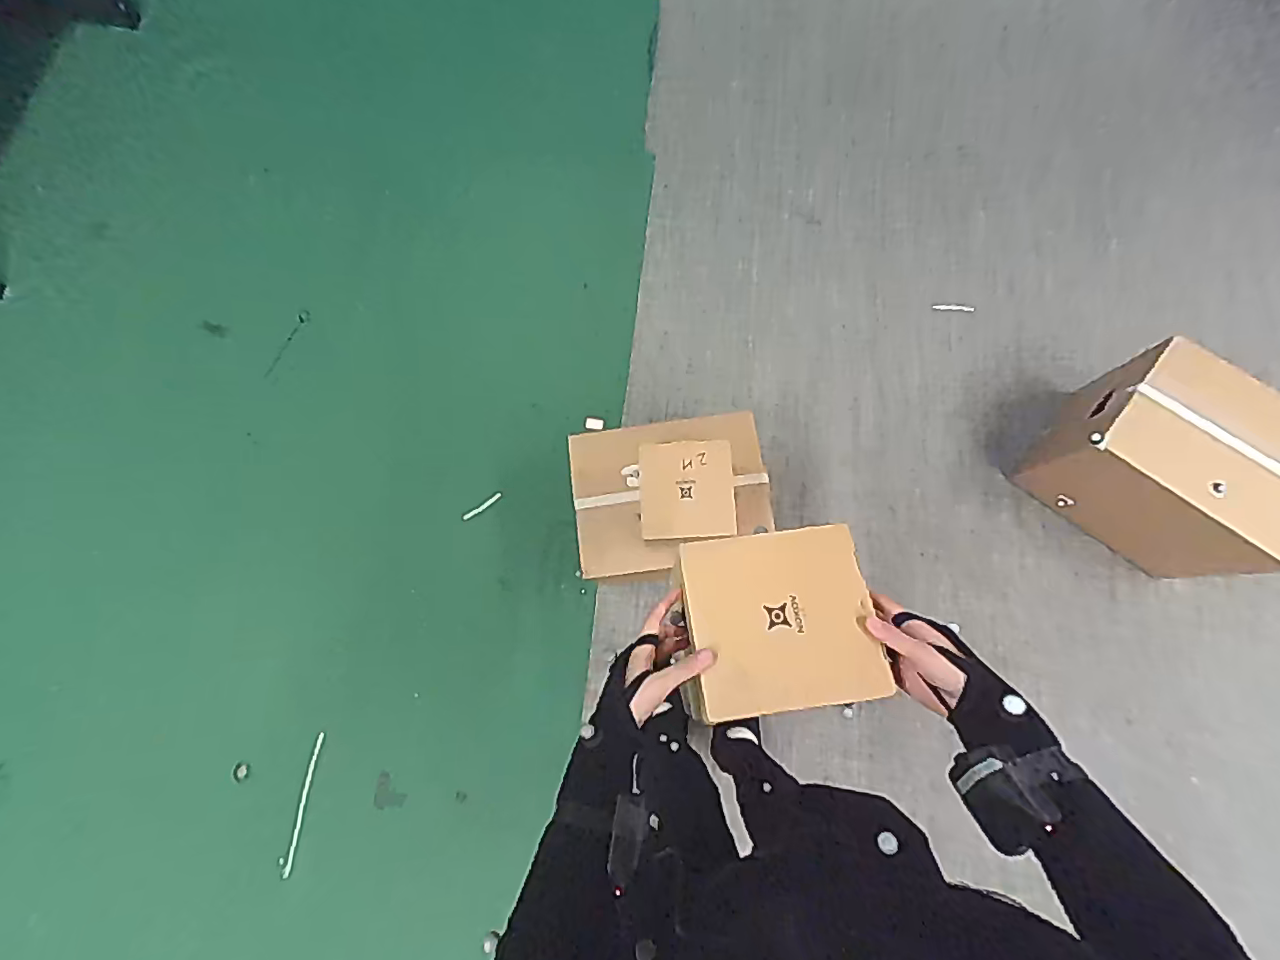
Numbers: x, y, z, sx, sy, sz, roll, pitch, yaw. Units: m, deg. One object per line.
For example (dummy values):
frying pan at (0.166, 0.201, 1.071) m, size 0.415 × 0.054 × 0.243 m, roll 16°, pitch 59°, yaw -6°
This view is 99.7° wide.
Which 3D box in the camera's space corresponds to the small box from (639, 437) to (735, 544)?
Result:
small box at (0.086, 0.028, 1.017) m, size 0.168 × 0.176 × 0.179 m, roll -2°, pitch 77°, yaw 2°

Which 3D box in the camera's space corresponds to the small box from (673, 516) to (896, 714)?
small box at (0.132, 0.151, 0.577) m, size 0.179 × 0.176 × 0.168 m, roll -6°, pitch 66°, yaw -4°

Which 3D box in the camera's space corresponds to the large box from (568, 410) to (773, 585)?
large box at (0.074, 0.060, 1.265) m, size 0.408 × 0.320 × 0.320 m, roll -8°, pitch 75°, yaw 3°
